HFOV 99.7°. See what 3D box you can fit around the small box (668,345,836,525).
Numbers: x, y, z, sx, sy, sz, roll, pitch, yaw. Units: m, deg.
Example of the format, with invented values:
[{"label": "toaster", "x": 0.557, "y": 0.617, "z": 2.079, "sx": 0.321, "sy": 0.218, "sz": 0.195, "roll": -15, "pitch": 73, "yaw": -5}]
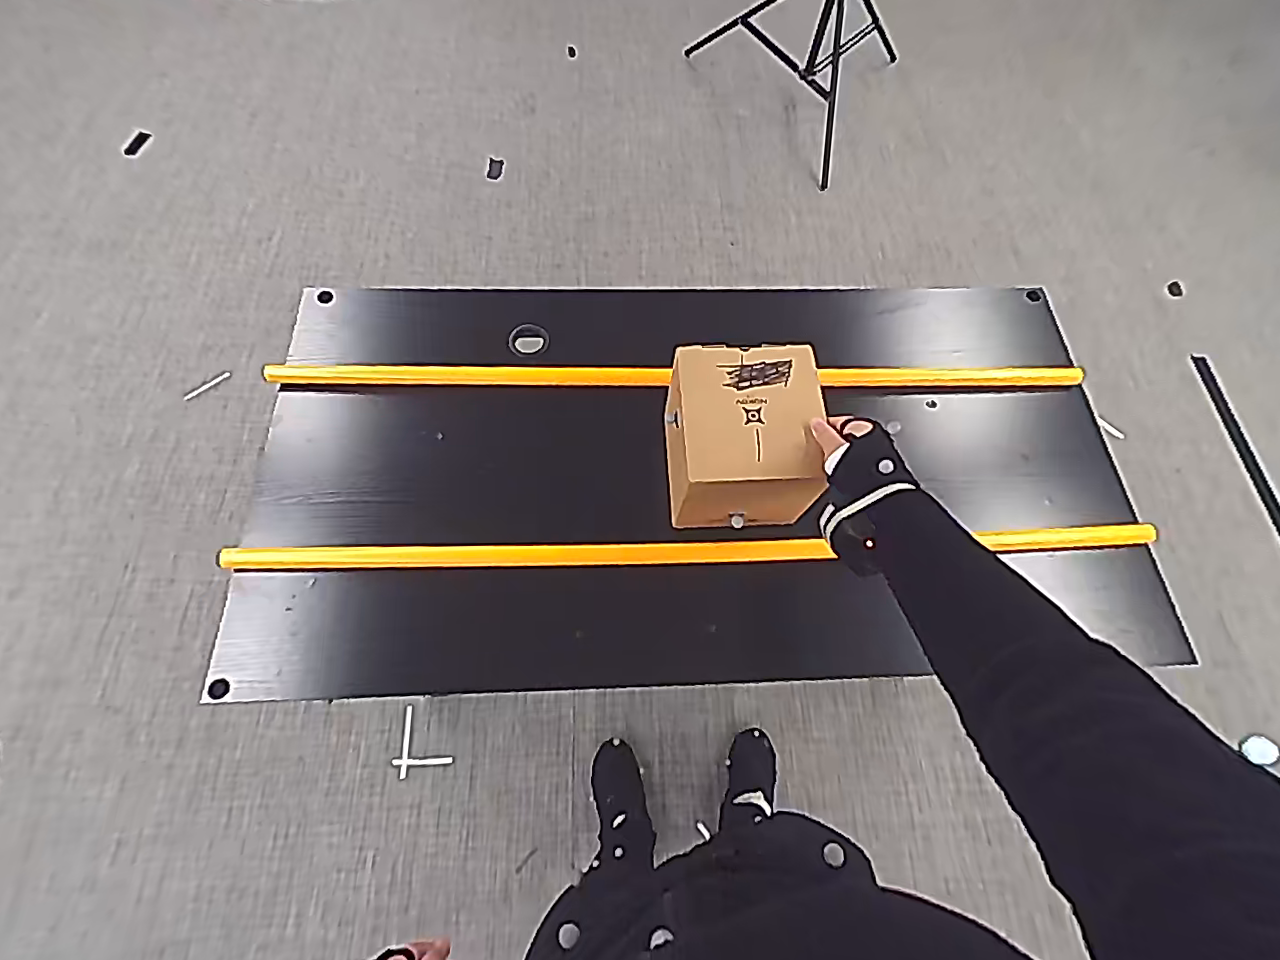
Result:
[{"label": "small box", "x": 0.127, "y": -0.051, "z": 0.690, "sx": 0.168, "sy": 0.176, "sz": 0.179, "roll": -2, "pitch": 68, "yaw": -3}]
